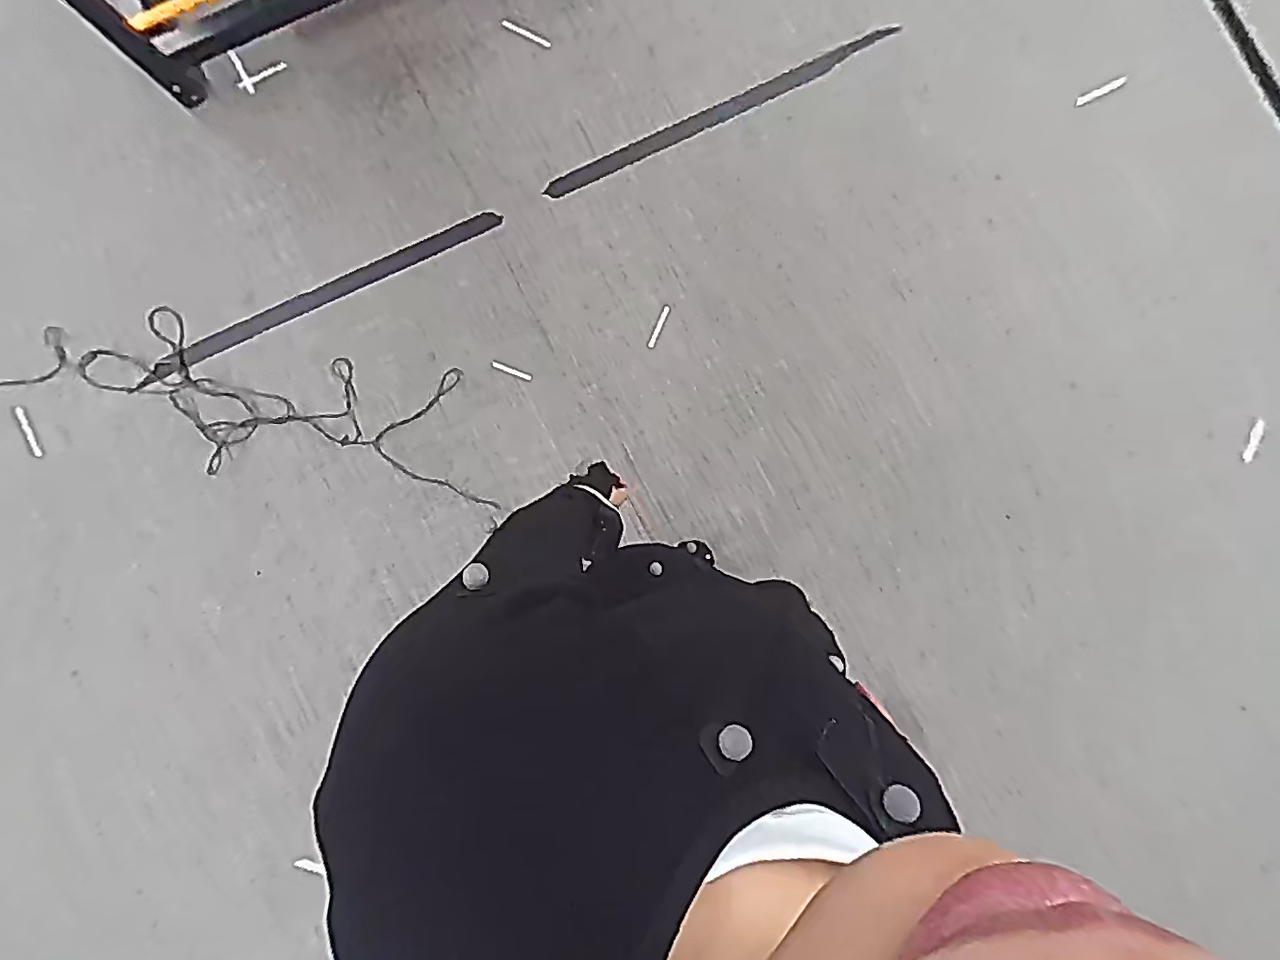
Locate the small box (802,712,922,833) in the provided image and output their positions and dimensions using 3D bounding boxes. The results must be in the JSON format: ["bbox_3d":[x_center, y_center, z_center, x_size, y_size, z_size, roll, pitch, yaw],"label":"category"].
[{"bbox_3d":[0.519,0.689,1.279,0.179,0.176,0.168,-26,88,-2],"label":"small box"}]

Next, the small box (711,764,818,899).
[{"bbox_3d":[0.280,0.816,1.273,0.179,0.176,0.168,-31,88,-3],"label":"small box"}]
